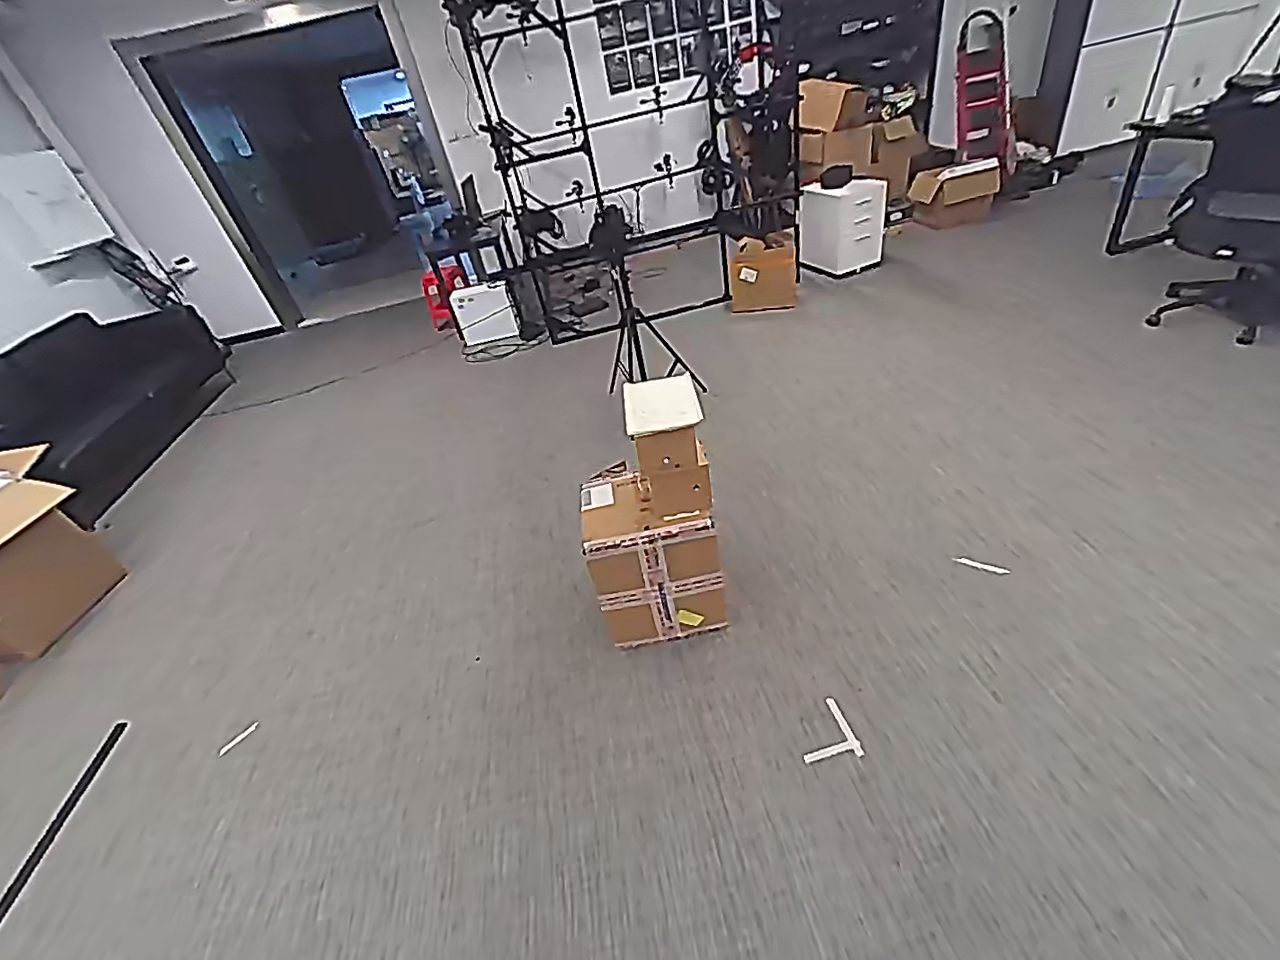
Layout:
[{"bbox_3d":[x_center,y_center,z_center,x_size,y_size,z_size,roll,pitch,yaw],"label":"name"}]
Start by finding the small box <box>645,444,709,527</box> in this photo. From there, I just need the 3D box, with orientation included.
[{"bbox_3d":[0.104,0.017,1.608,0.179,0.176,0.168,-11,37,-1],"label":"small box"}]

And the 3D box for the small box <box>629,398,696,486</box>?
[{"bbox_3d":[0.062,-0.106,1.506,0.168,0.176,0.179,-8,39,2],"label":"small box"}]
